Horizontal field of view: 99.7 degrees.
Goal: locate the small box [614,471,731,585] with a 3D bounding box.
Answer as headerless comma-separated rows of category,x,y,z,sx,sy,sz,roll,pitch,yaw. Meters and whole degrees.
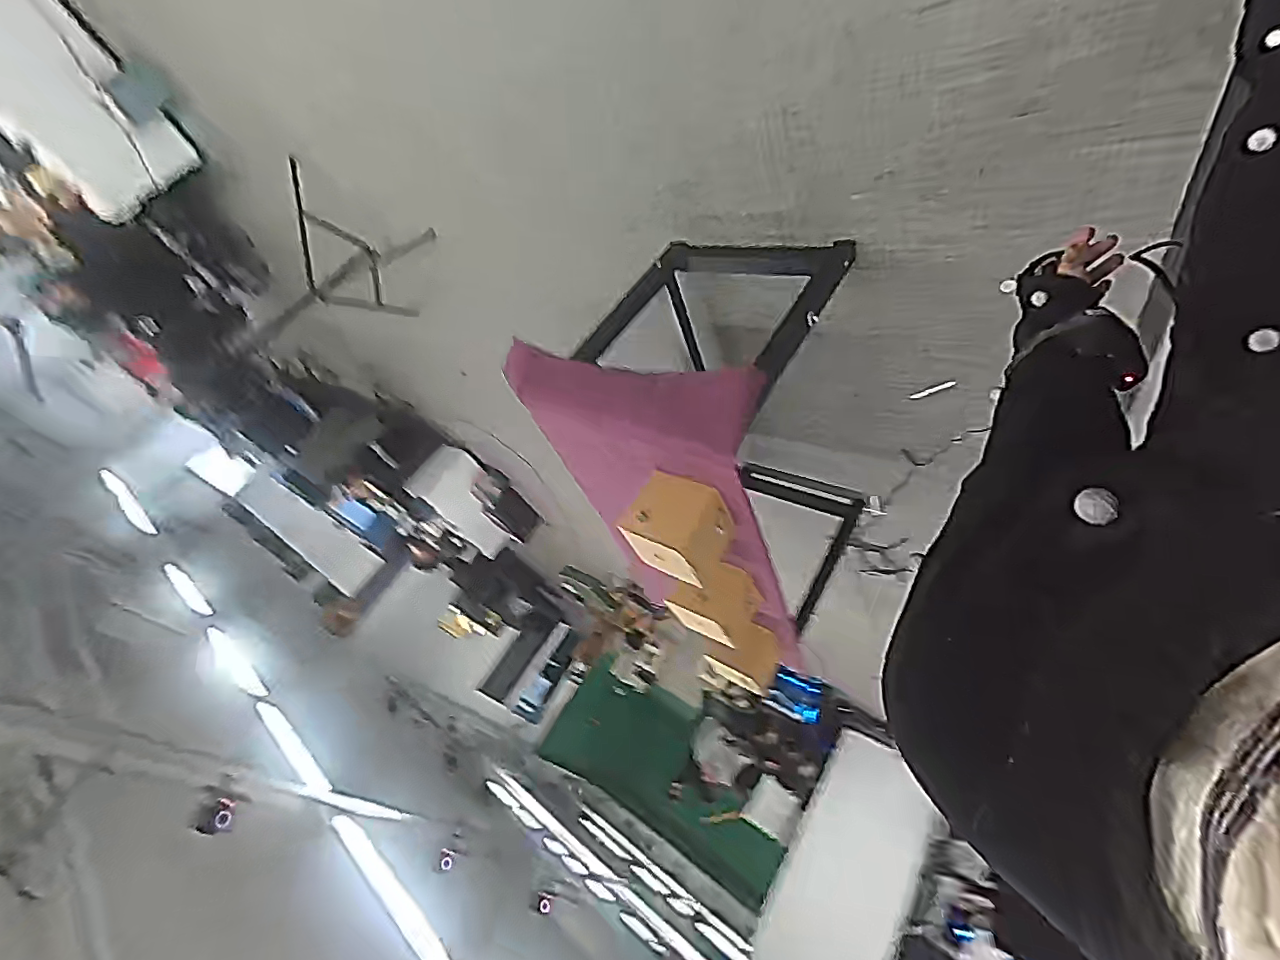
small box,0.079,0.102,1.222,0.179,0.176,0.168,18,153,36

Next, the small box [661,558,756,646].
small box,0.195,0.326,1.510,0.179,0.176,0.168,15,150,39
